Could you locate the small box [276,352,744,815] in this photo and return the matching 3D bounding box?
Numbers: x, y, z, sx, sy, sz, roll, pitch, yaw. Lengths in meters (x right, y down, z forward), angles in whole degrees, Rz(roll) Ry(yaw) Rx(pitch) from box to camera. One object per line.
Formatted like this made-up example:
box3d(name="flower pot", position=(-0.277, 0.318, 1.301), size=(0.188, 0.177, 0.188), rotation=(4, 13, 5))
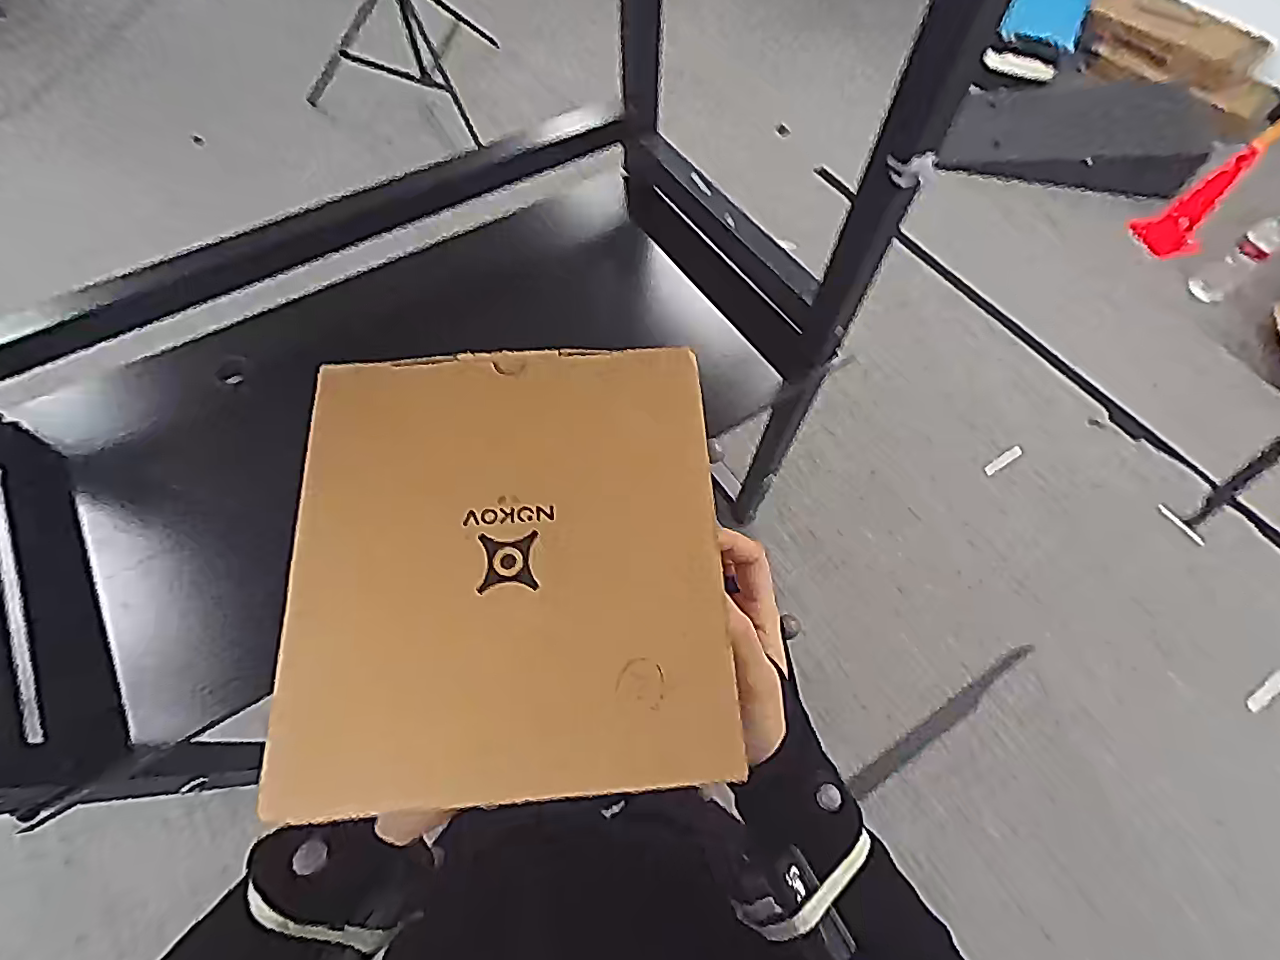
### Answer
box3d(name="small box", position=(-0.049, 0.055, 0.288), size=(0.168, 0.176, 0.179), rotation=(-3, 70, -3))
